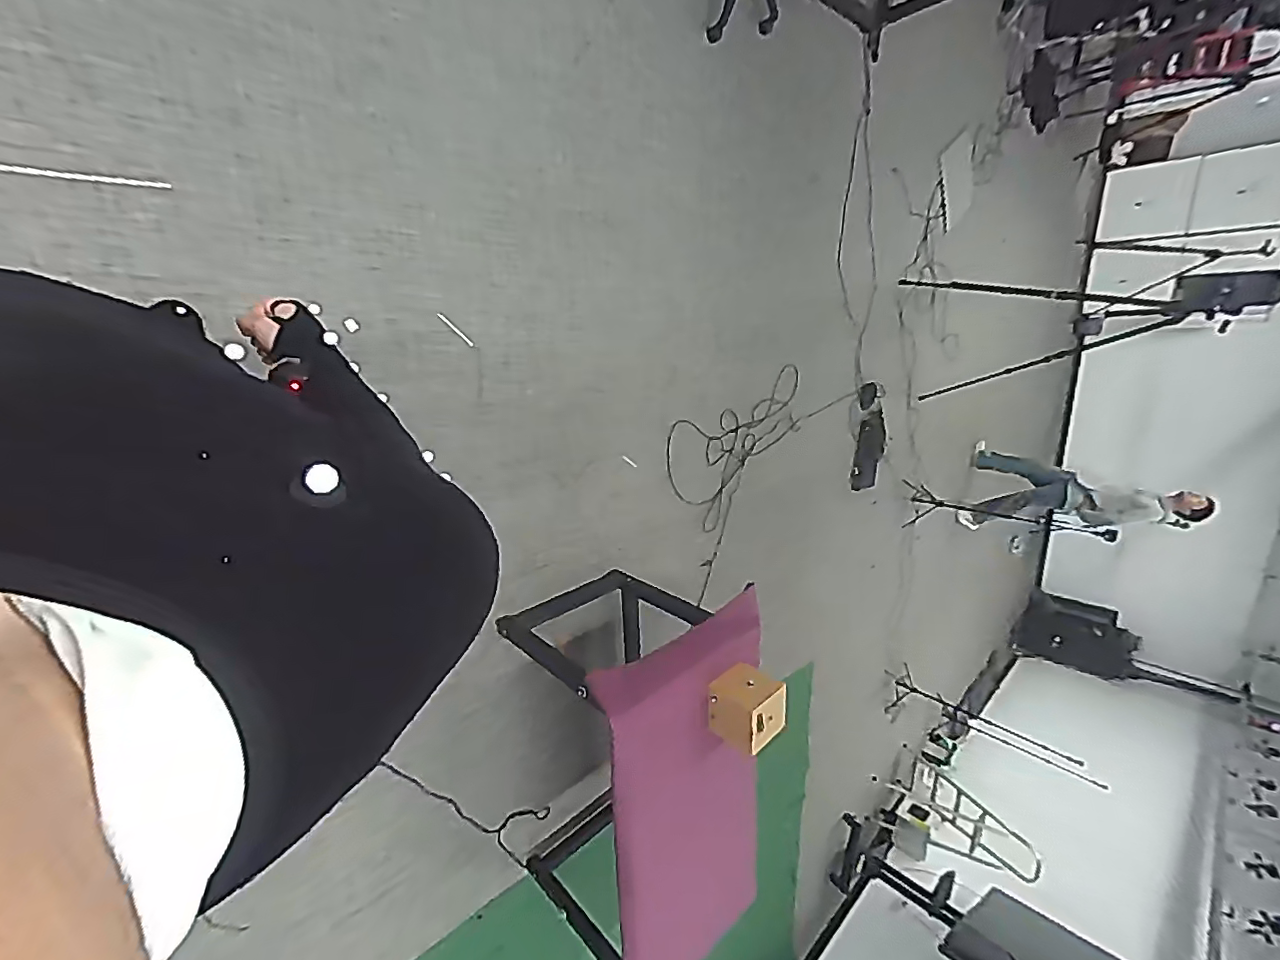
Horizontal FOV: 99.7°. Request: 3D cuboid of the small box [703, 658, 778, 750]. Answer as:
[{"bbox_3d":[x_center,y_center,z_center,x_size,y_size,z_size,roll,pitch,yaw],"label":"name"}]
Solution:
[{"bbox_3d":[0.309,0.689,1.684,0.179,0.176,0.168,-18,113,-41],"label":"small box"}]
